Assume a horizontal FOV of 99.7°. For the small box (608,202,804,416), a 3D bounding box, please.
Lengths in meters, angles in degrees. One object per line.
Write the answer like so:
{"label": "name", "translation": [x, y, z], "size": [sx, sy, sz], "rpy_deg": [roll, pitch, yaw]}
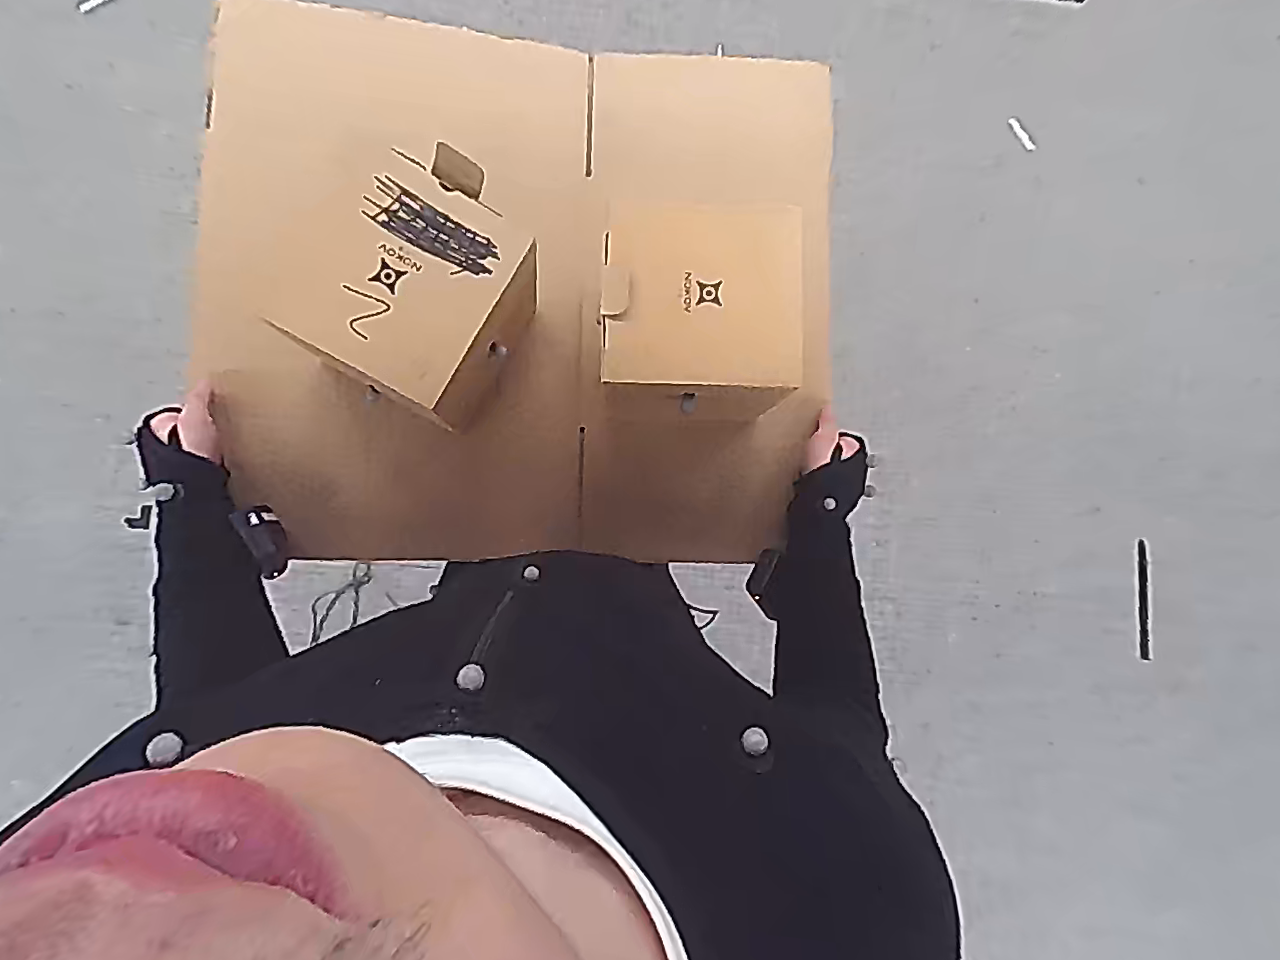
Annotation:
{"label": "small box", "translation": [0.059, -0.163, 0.565], "size": [0.179, 0.176, 0.168], "rpy_deg": [1, 87, 0]}
